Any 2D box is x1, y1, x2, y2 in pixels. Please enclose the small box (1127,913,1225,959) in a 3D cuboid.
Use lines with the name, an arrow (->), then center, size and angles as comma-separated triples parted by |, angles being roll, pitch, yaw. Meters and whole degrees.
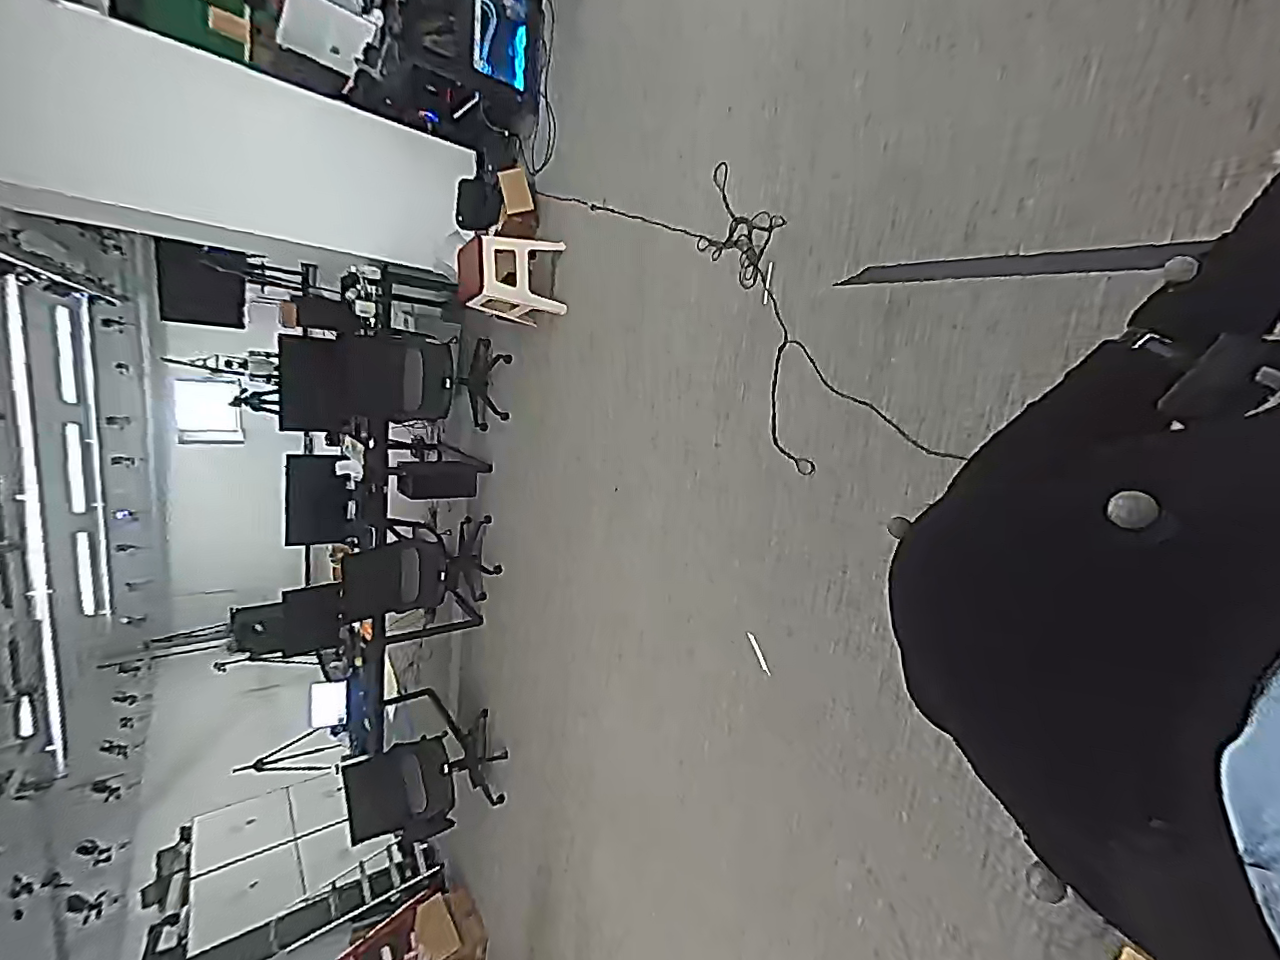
small box -> 1.066, 1.018, 1.061 | 0.168, 0.176, 0.179 | 25, 112, 49
